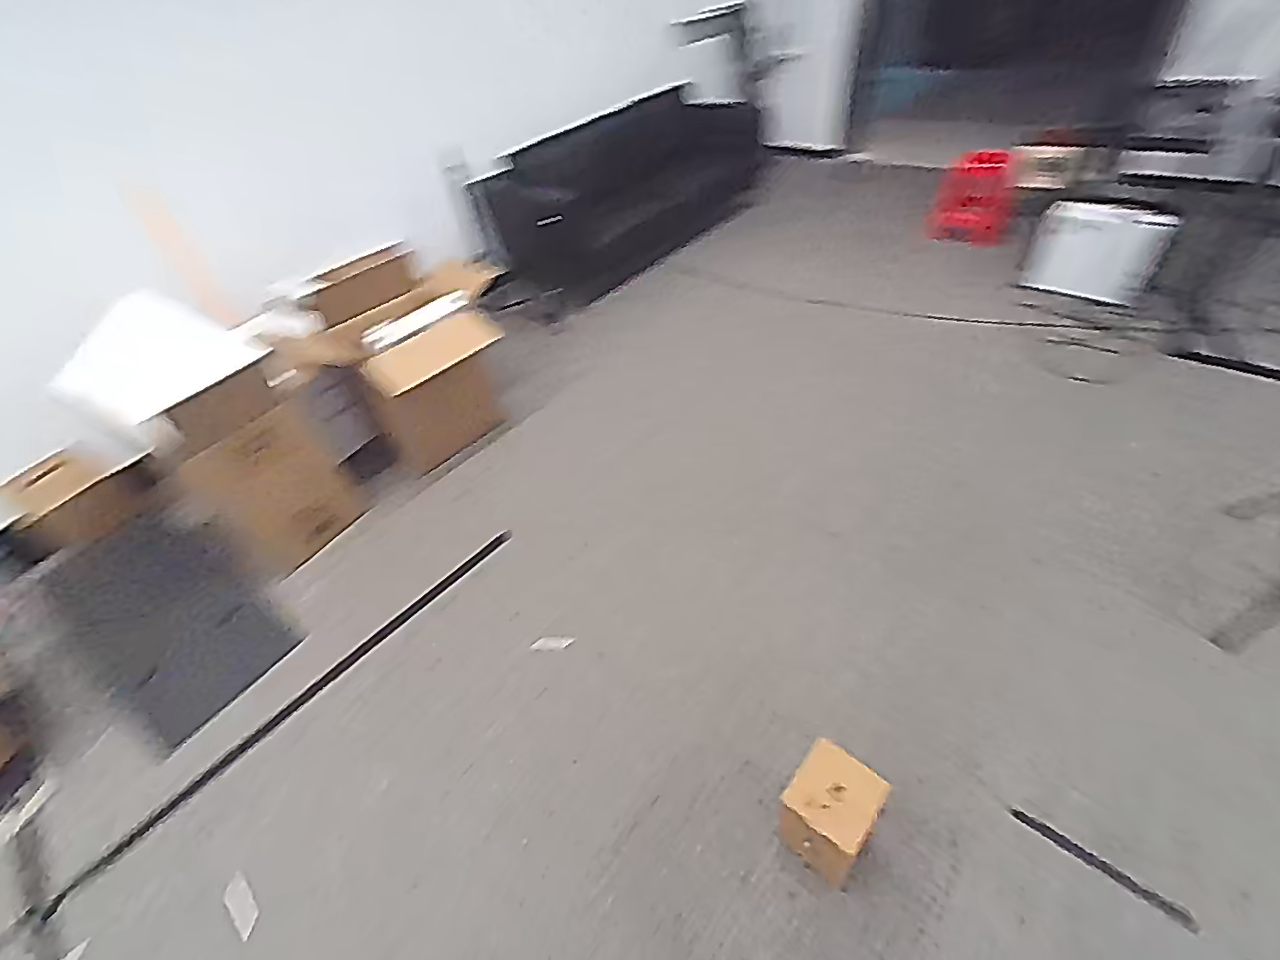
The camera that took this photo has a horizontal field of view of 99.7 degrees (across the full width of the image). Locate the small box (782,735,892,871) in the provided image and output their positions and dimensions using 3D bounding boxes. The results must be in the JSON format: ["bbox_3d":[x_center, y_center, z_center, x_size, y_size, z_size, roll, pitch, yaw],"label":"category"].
[{"bbox_3d":[0.429,0.717,1.203,0.168,0.176,0.179,30,56,35],"label":"small box"}]

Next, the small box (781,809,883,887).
[{"bbox_3d":[0.456,0.836,1.313,0.168,0.176,0.179,30,56,35],"label":"small box"}]
